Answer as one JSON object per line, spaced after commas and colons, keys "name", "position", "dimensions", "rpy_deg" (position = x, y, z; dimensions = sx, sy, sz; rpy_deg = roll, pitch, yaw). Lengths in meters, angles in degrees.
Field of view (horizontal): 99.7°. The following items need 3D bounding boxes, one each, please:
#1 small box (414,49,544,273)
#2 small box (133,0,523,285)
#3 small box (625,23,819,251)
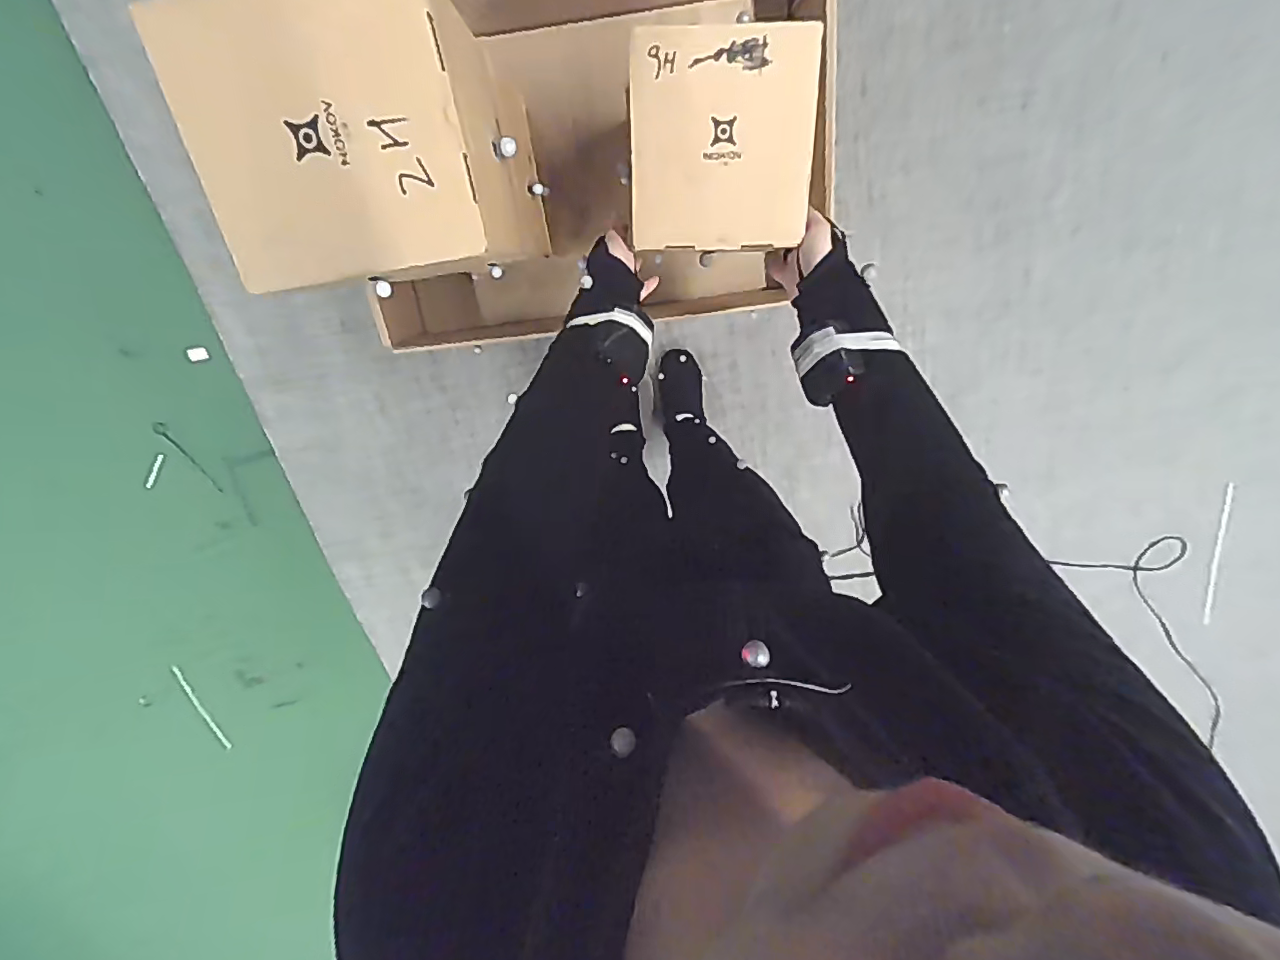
{"name": "small box", "position": [-0.210, -0.314, 0.568], "dimensions": [0.179, 0.176, 0.168], "rpy_deg": [-8, 113, 1]}
{"name": "small box", "position": [-0.204, -0.249, 0.417], "dimensions": [0.179, 0.176, 0.168], "rpy_deg": [-9, 113, 1]}
{"name": "small box", "position": [0.069, -0.335, 0.560], "dimensions": [0.168, 0.176, 0.179], "rpy_deg": [0, 113, -1]}
